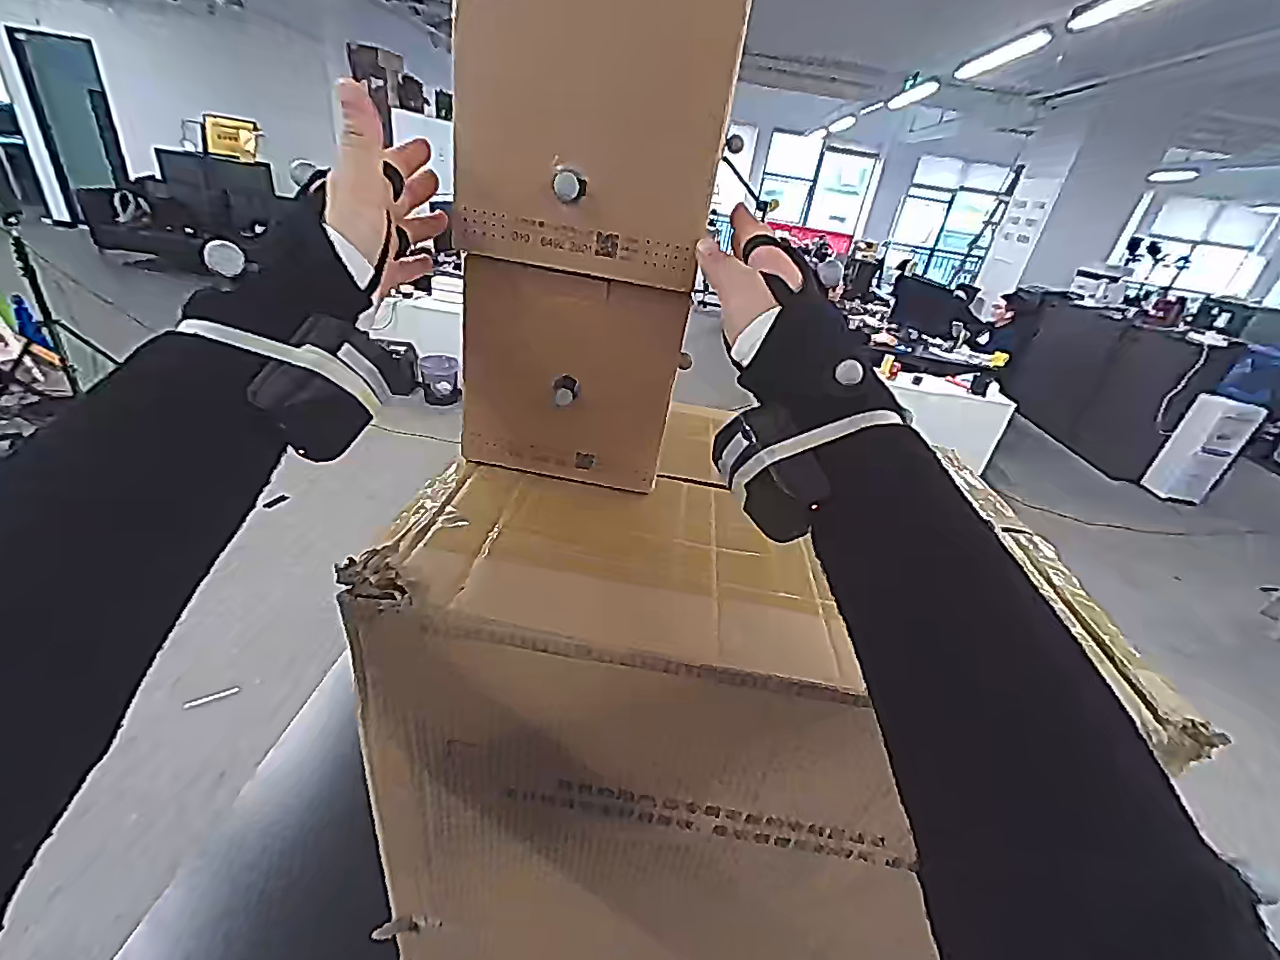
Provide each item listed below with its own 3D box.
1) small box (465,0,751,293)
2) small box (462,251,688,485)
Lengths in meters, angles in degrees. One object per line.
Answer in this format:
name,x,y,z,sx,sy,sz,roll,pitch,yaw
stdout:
small box,-0.023,-0.249,0.399,0.168,0.176,0.179,10,29,2
small box,-0.048,-0.113,0.493,0.168,0.176,0.179,10,29,0
